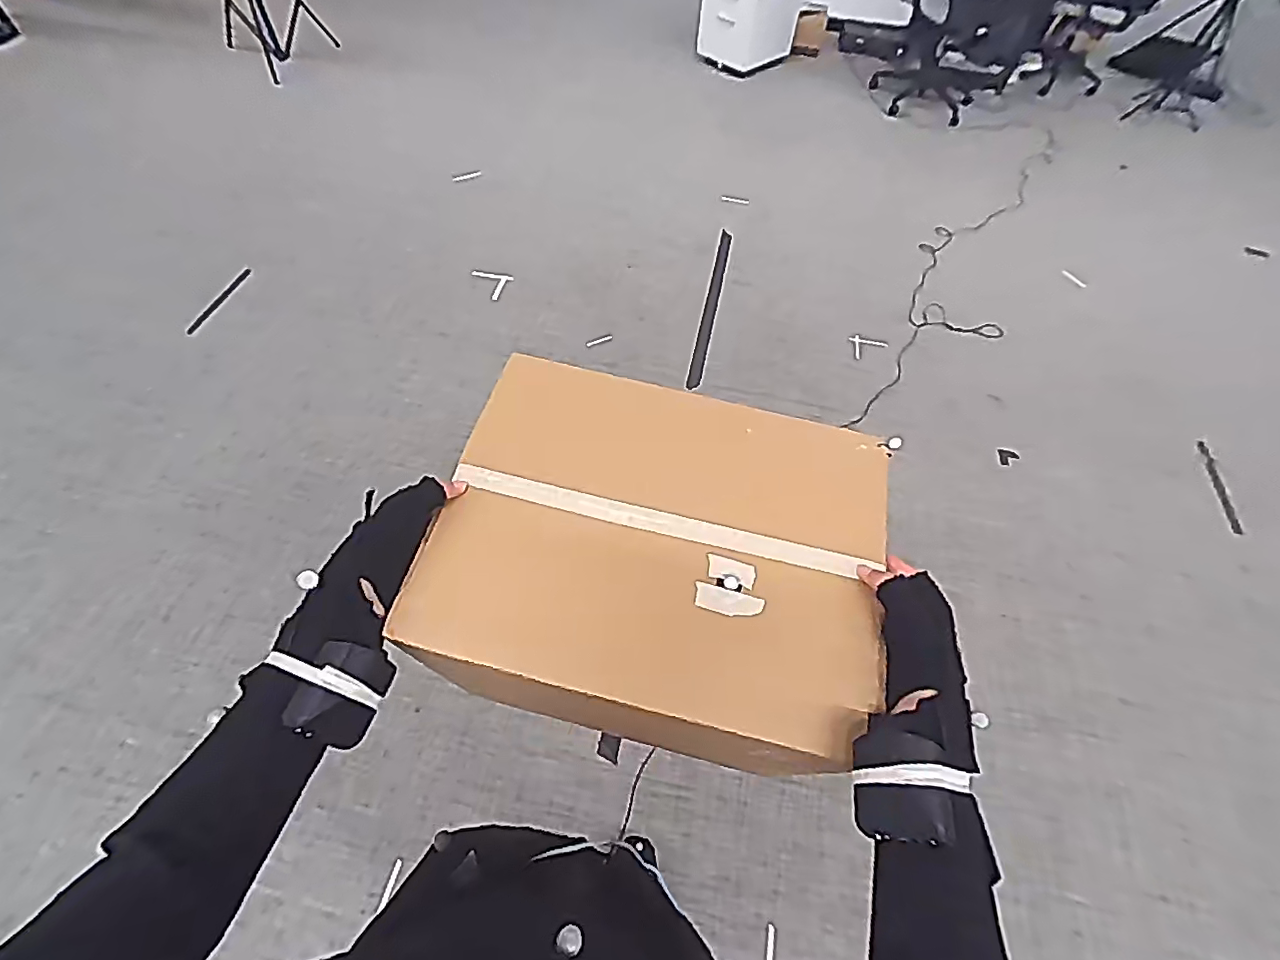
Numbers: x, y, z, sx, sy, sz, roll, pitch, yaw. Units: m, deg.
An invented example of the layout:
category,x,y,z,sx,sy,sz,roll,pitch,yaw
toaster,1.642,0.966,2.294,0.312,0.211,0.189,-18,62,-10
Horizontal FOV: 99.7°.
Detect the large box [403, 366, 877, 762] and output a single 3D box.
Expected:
category,x,y,z,sx,sy,sz,roll,pitch,yaw
large box,0.013,0.117,0.639,0.408,0.320,0.320,14,62,2
